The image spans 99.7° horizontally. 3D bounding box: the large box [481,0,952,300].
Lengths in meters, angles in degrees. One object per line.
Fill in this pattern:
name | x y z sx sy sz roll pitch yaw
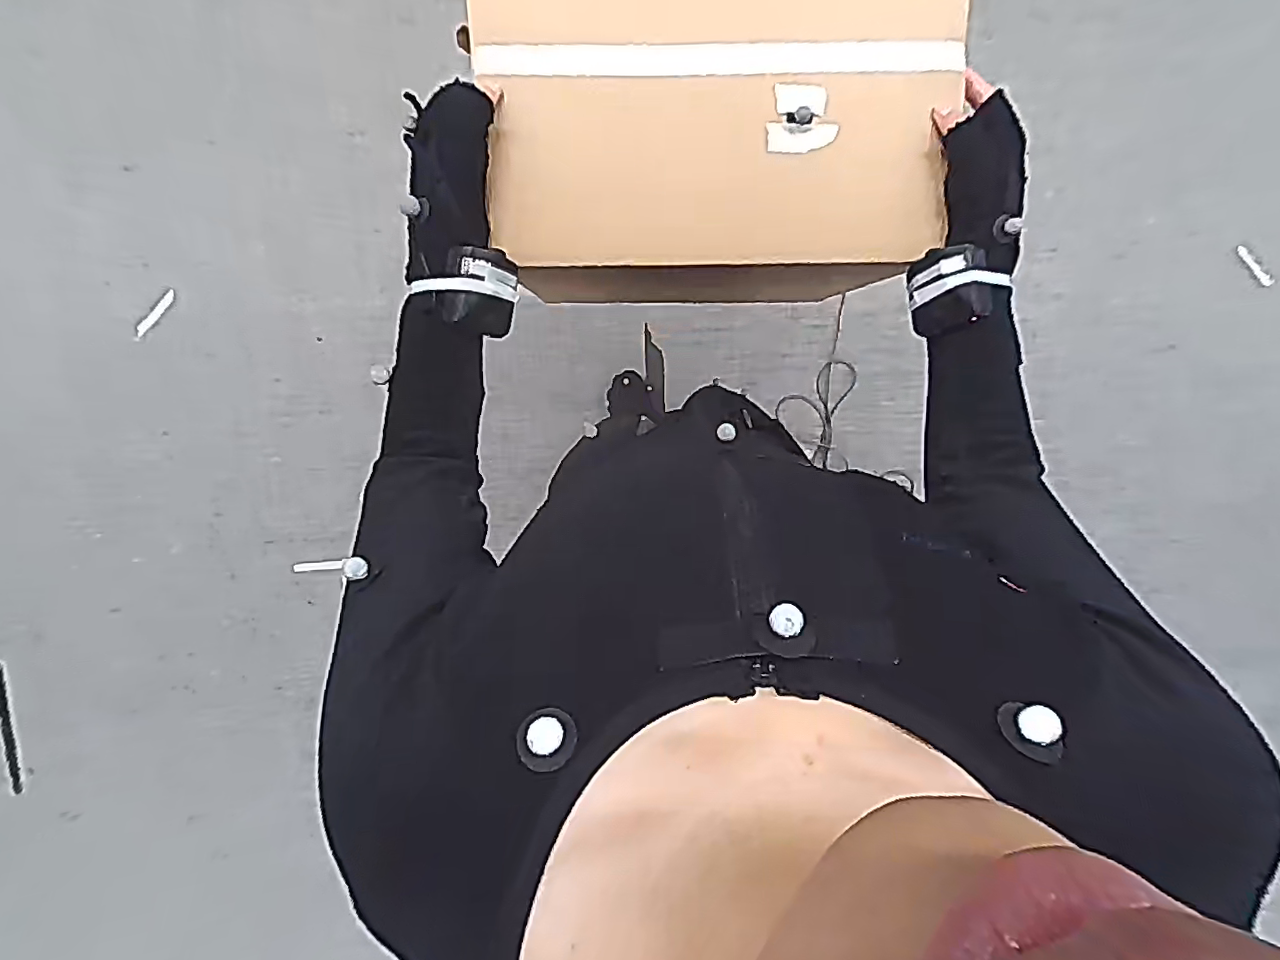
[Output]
large box | 0.060 -0.386 0.609 0.408 0.320 0.320 -2 103 -2
